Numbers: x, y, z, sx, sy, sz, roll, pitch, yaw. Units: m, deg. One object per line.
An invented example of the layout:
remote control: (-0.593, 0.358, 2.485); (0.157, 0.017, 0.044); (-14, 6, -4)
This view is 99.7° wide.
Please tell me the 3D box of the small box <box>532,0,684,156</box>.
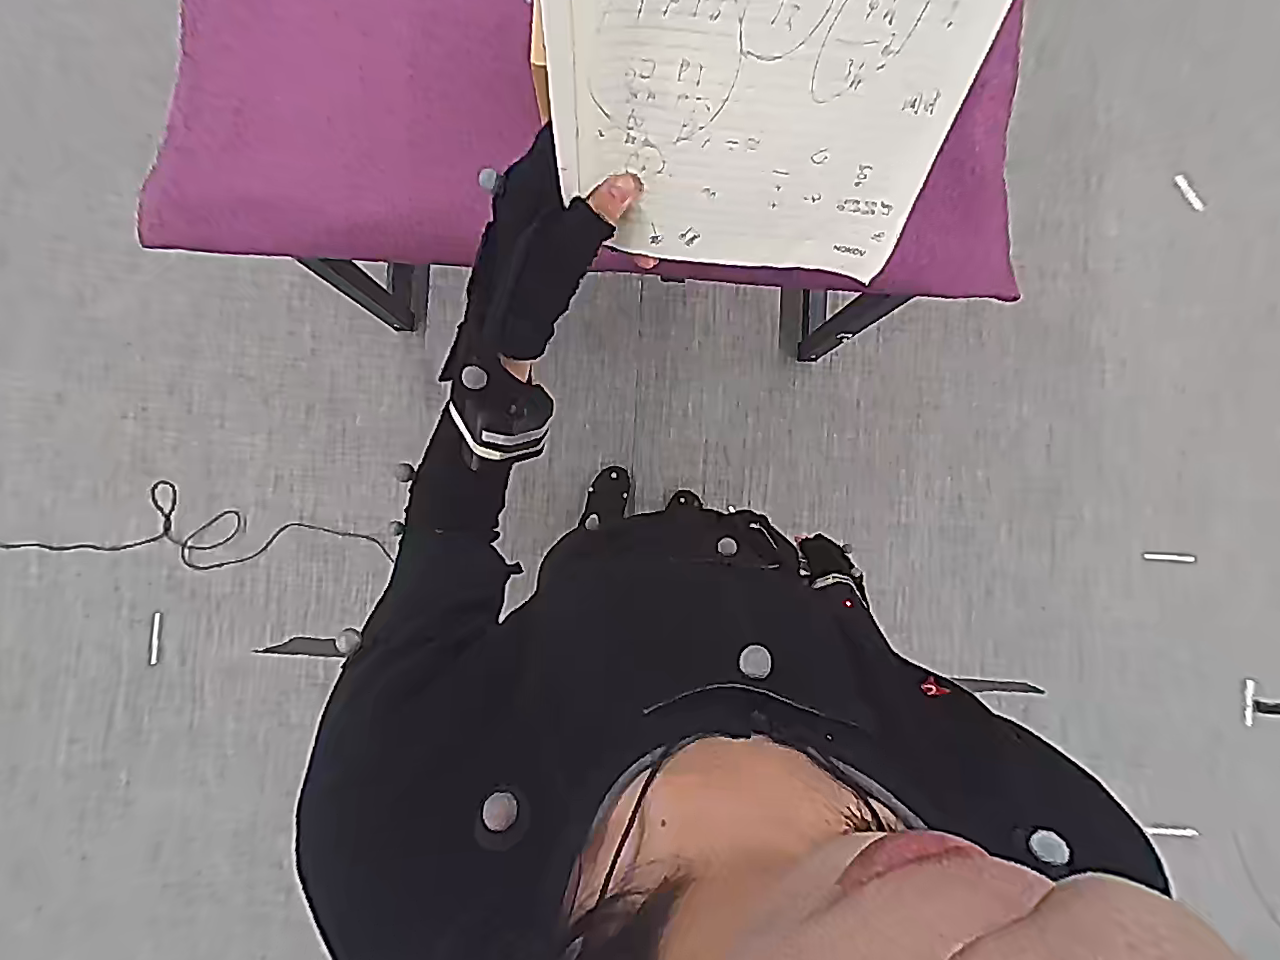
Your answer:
small box: (-0.041, -0.562, 0.718); (0.179, 0.176, 0.168); (3, 88, -3)
